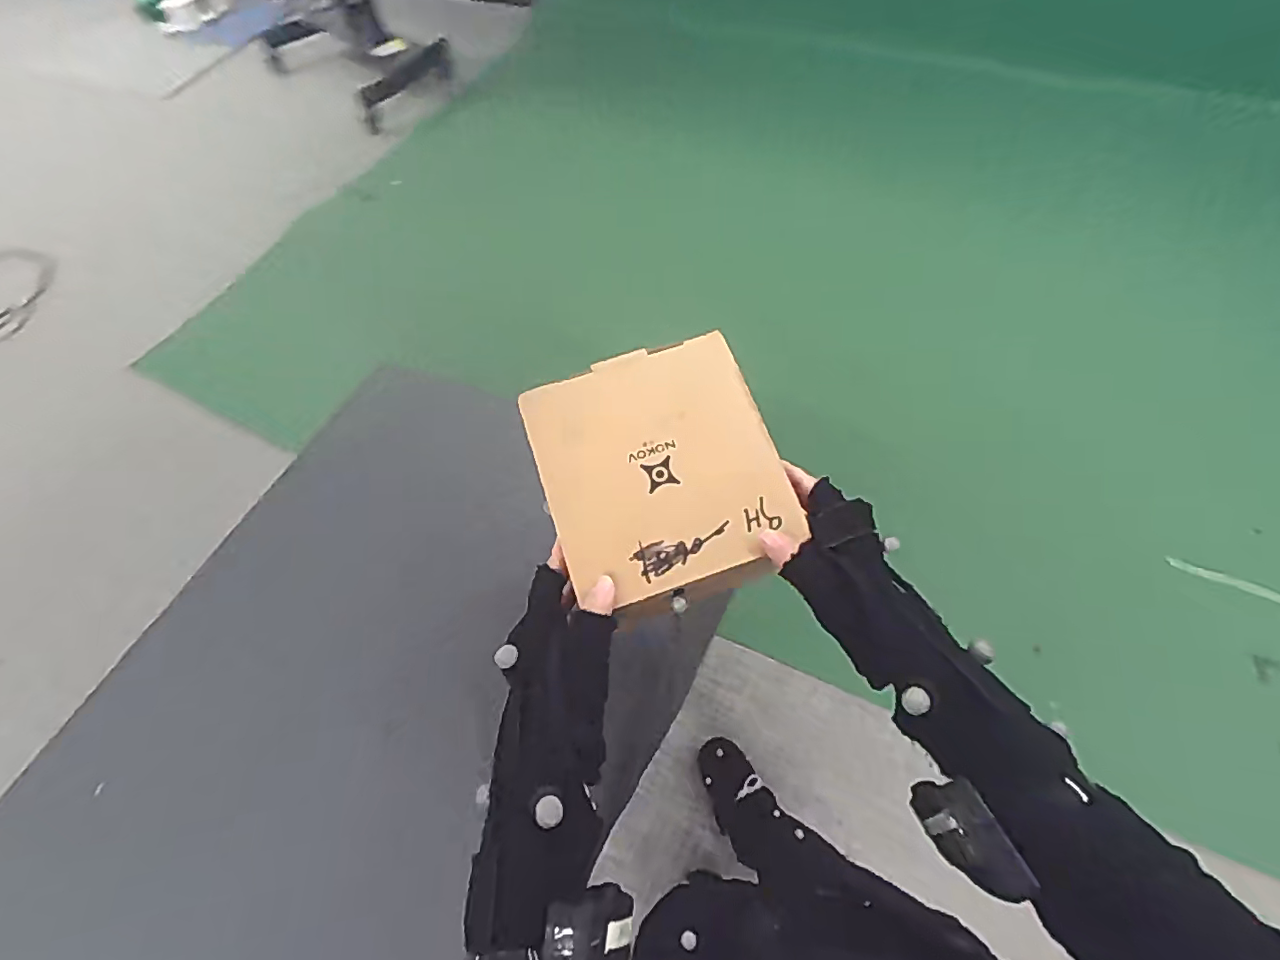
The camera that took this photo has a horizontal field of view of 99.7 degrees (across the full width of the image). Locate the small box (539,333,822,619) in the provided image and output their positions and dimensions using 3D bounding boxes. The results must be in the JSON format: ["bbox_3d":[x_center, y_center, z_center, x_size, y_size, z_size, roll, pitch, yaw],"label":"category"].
[{"bbox_3d":[0.027,0.010,0.464,0.168,0.176,0.179,-17,73,-2],"label":"small box"}]
